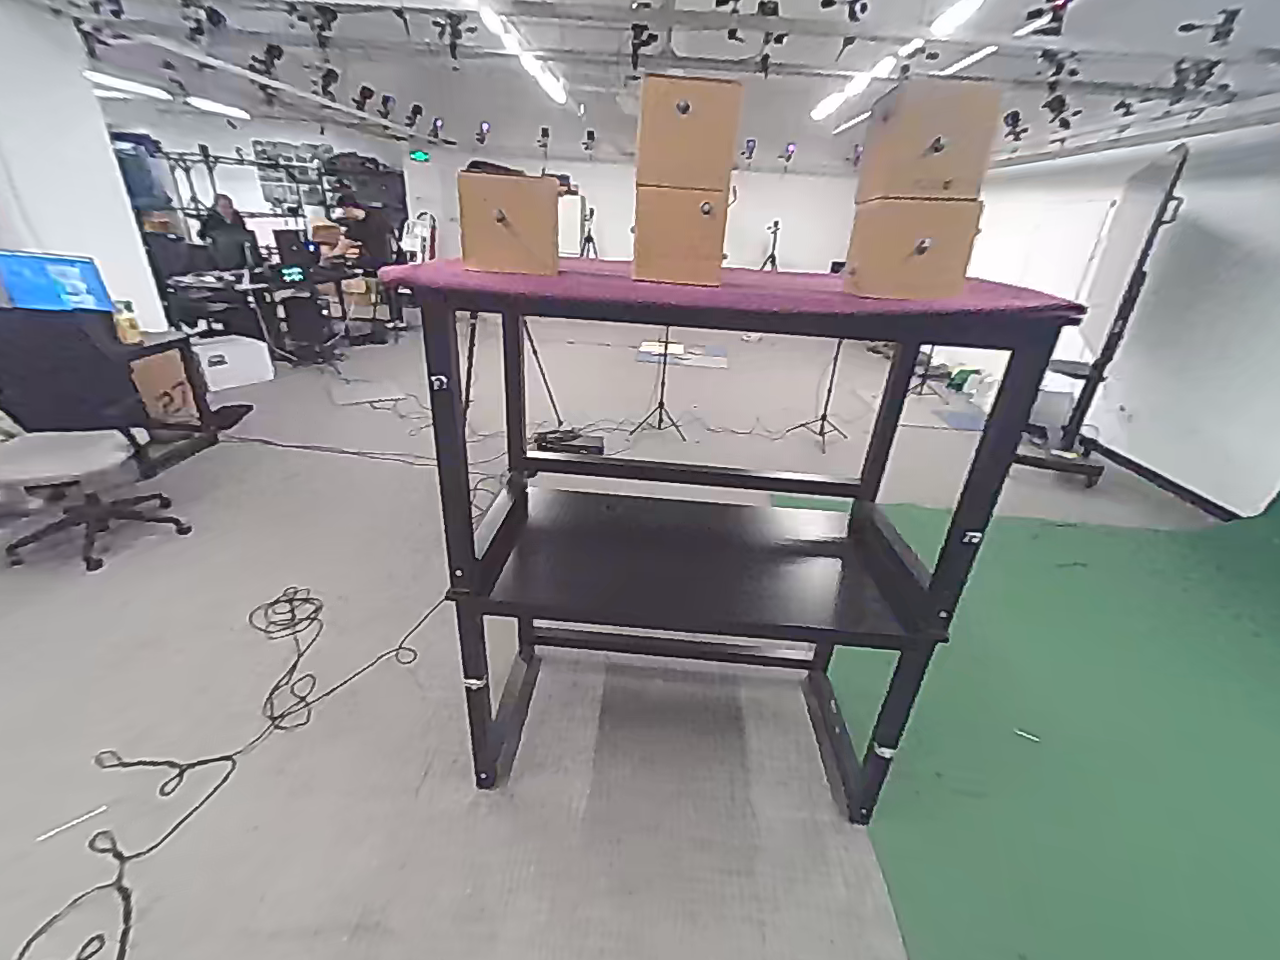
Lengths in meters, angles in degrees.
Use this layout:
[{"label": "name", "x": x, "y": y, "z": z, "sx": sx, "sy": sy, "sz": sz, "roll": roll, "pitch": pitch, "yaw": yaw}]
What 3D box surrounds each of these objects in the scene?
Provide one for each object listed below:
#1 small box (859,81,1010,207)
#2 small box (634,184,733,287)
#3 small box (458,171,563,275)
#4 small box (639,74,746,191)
[{"label": "small box", "x": 0.507, "y": -0.585, "z": 0.959, "sx": 0.168, "sy": 0.176, "sz": 0.179, "roll": 4, "pitch": 24, "yaw": 4}, {"label": "small box", "x": 0.083, "y": -0.482, "z": 1.078, "sx": 0.179, "sy": 0.176, "sz": 0.168, "roll": 6, "pitch": 24, "yaw": 3}, {"label": "small box", "x": -0.243, "y": -0.498, "z": 1.058, "sx": 0.179, "sy": 0.176, "sz": 0.168, "roll": 1, "pitch": 27, "yaw": -7}, {"label": "small box", "x": 0.095, "y": -0.633, "z": 1.015, "sx": 0.179, "sy": 0.176, "sz": 0.168, "roll": 7, "pitch": 24, "yaw": 2}]
